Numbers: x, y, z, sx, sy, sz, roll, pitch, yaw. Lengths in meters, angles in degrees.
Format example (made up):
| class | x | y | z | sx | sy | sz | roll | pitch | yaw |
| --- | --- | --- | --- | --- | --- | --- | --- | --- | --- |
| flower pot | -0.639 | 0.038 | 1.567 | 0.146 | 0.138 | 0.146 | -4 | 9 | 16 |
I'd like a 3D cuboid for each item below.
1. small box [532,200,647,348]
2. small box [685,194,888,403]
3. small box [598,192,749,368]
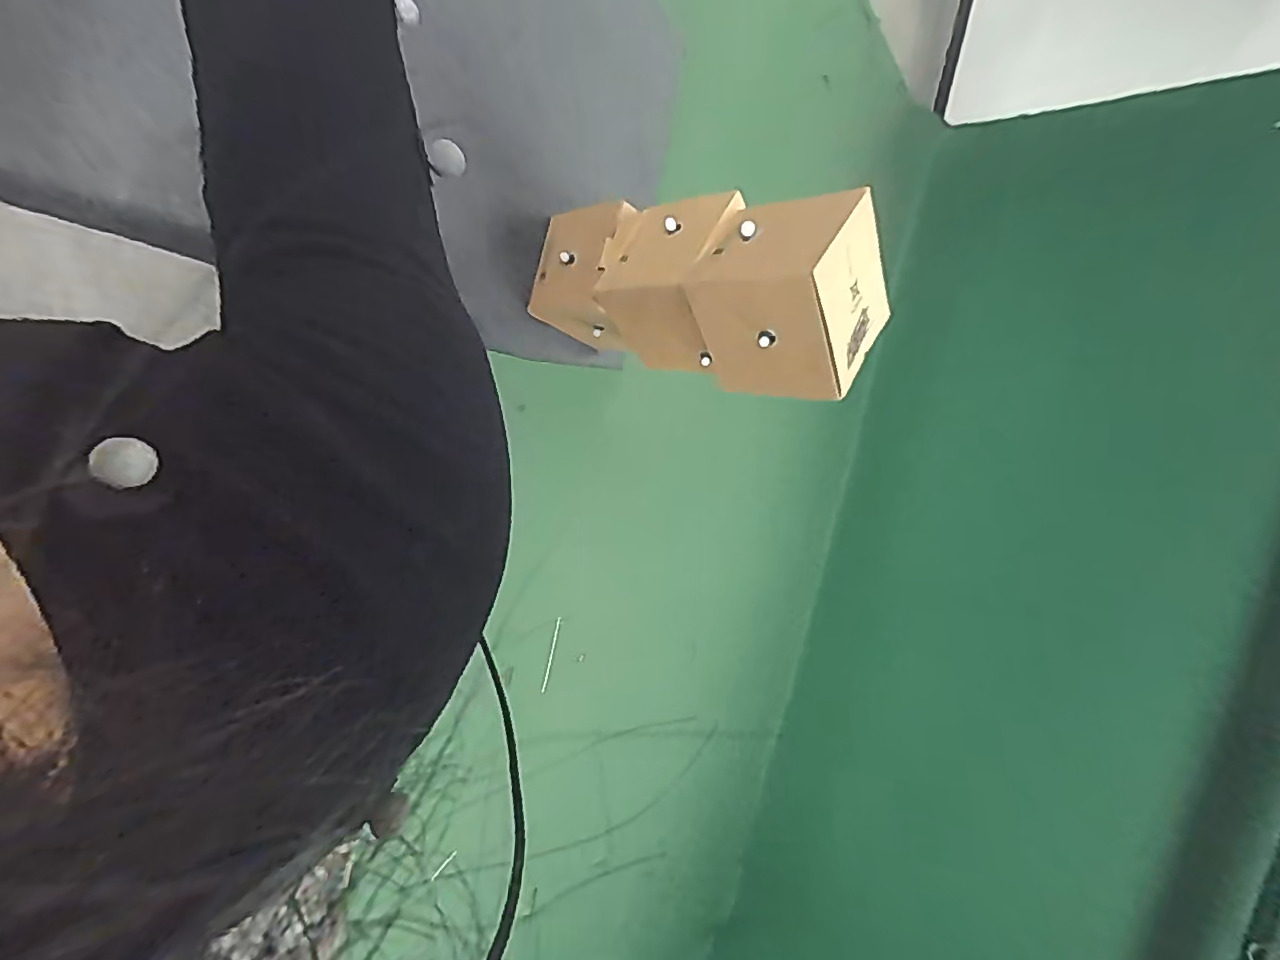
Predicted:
| class | x | y | z | sx | sy | sz | roll | pitch | yaw |
| --- | --- | --- | --- | --- | --- | --- | --- | --- | --- |
| small box | -0.049 | -0.320 | 0.885 | 0.179 | 0.176 | 0.168 | 15 | 89 | -48 |
| small box | 0.185 | -0.221 | 0.673 | 0.168 | 0.176 | 0.179 | -54 | 134 | -24 |
| small box | 0.070 | -0.274 | 0.781 | 0.179 | 0.176 | 0.168 | 46 | 66 | -45 |
